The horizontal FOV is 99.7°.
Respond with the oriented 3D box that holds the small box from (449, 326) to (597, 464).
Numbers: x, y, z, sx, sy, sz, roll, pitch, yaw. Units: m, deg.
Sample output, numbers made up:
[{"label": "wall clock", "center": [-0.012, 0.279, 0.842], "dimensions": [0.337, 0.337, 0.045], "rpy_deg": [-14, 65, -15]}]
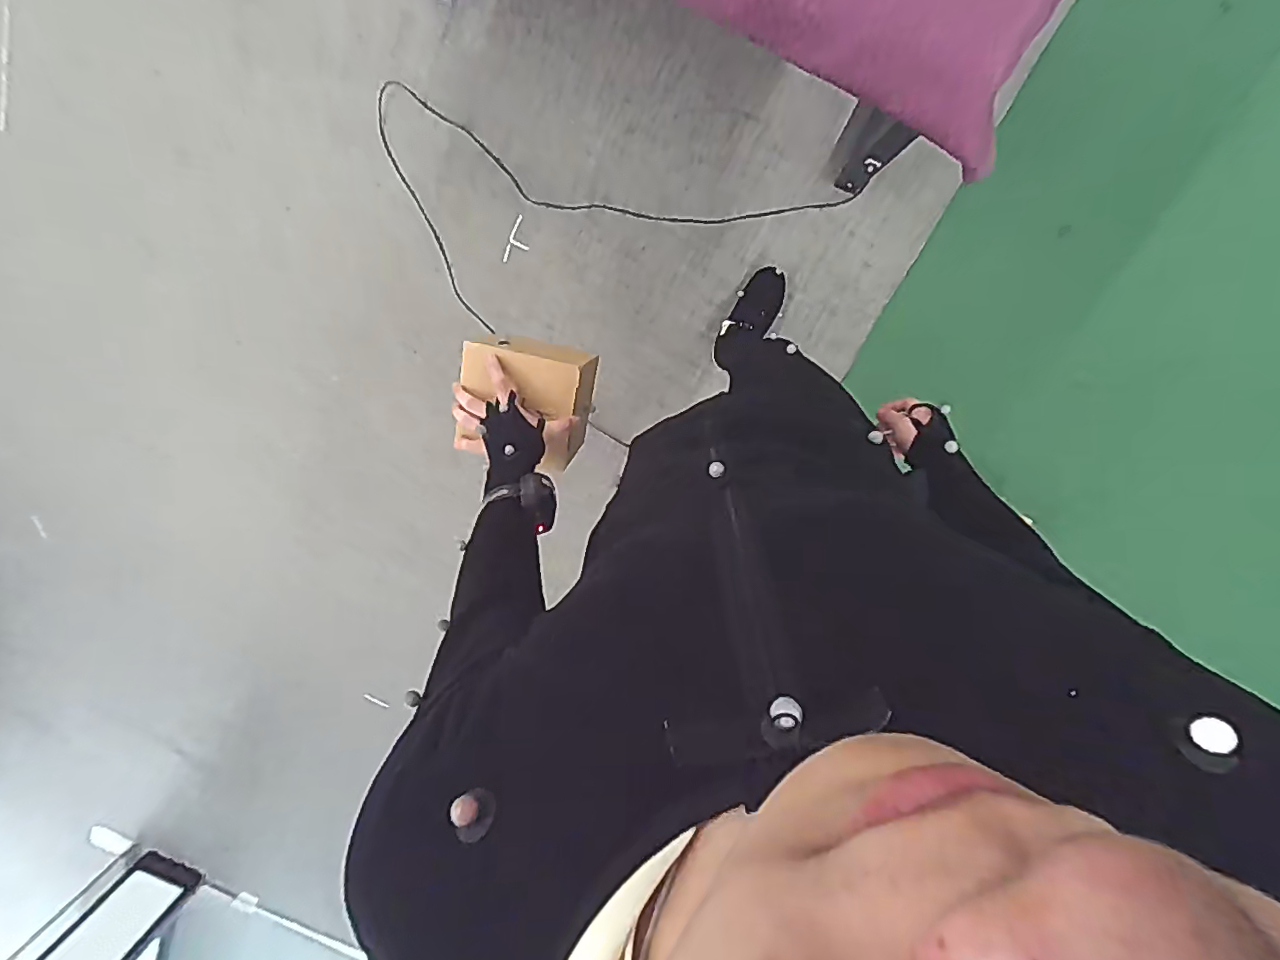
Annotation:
[{"label": "small box", "center": [-0.179, -0.144, 0.863], "dimensions": [0.179, 0.176, 0.168], "rpy_deg": [14, 111, 0]}]
